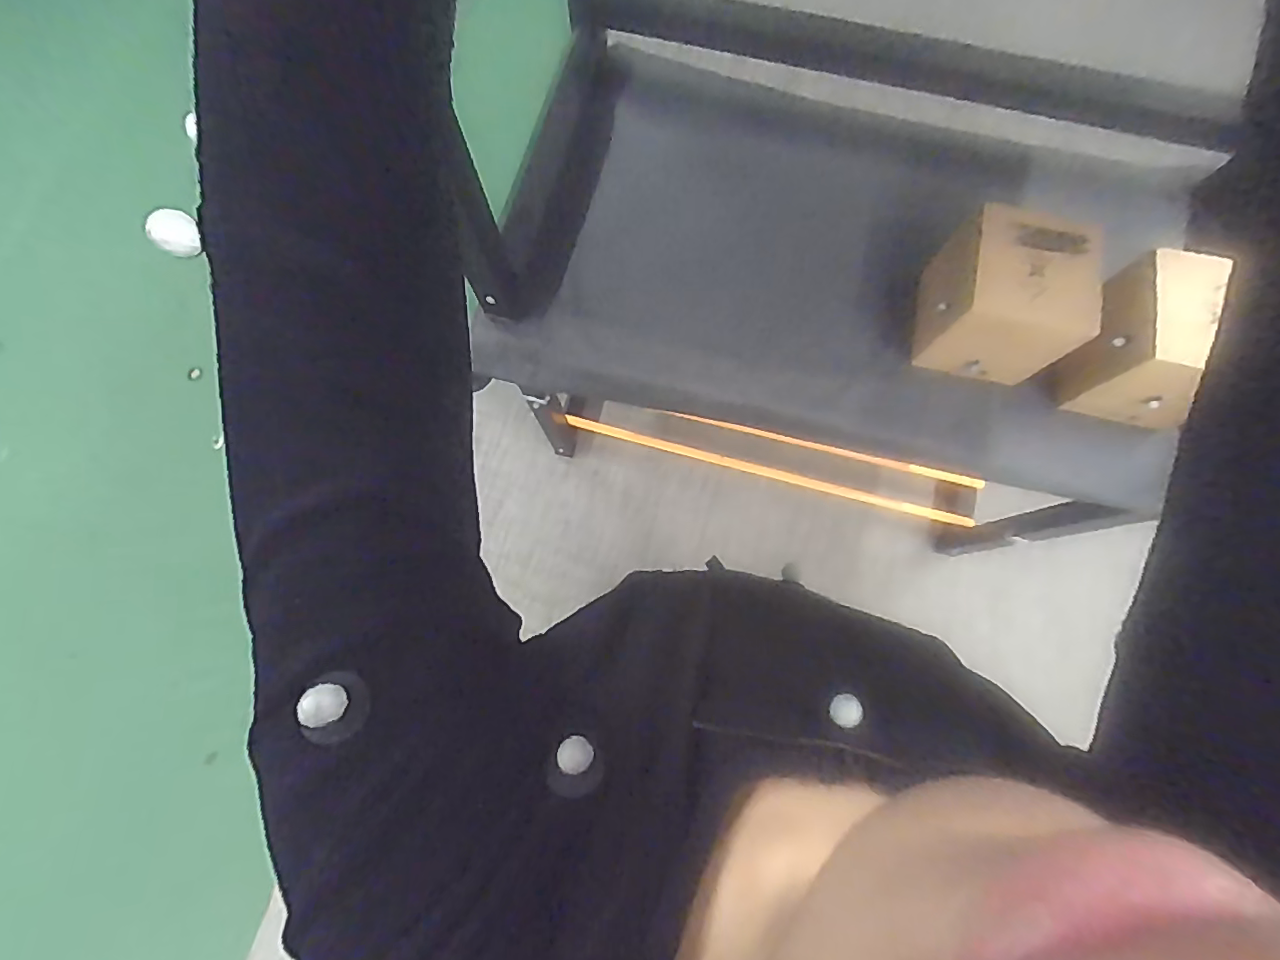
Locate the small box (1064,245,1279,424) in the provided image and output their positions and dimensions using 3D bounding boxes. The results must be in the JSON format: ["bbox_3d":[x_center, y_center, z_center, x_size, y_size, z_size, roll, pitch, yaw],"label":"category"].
[{"bbox_3d":[0.756,-0.198,0.780,0.168,0.176,0.179,13,76,3],"label":"small box"}]
